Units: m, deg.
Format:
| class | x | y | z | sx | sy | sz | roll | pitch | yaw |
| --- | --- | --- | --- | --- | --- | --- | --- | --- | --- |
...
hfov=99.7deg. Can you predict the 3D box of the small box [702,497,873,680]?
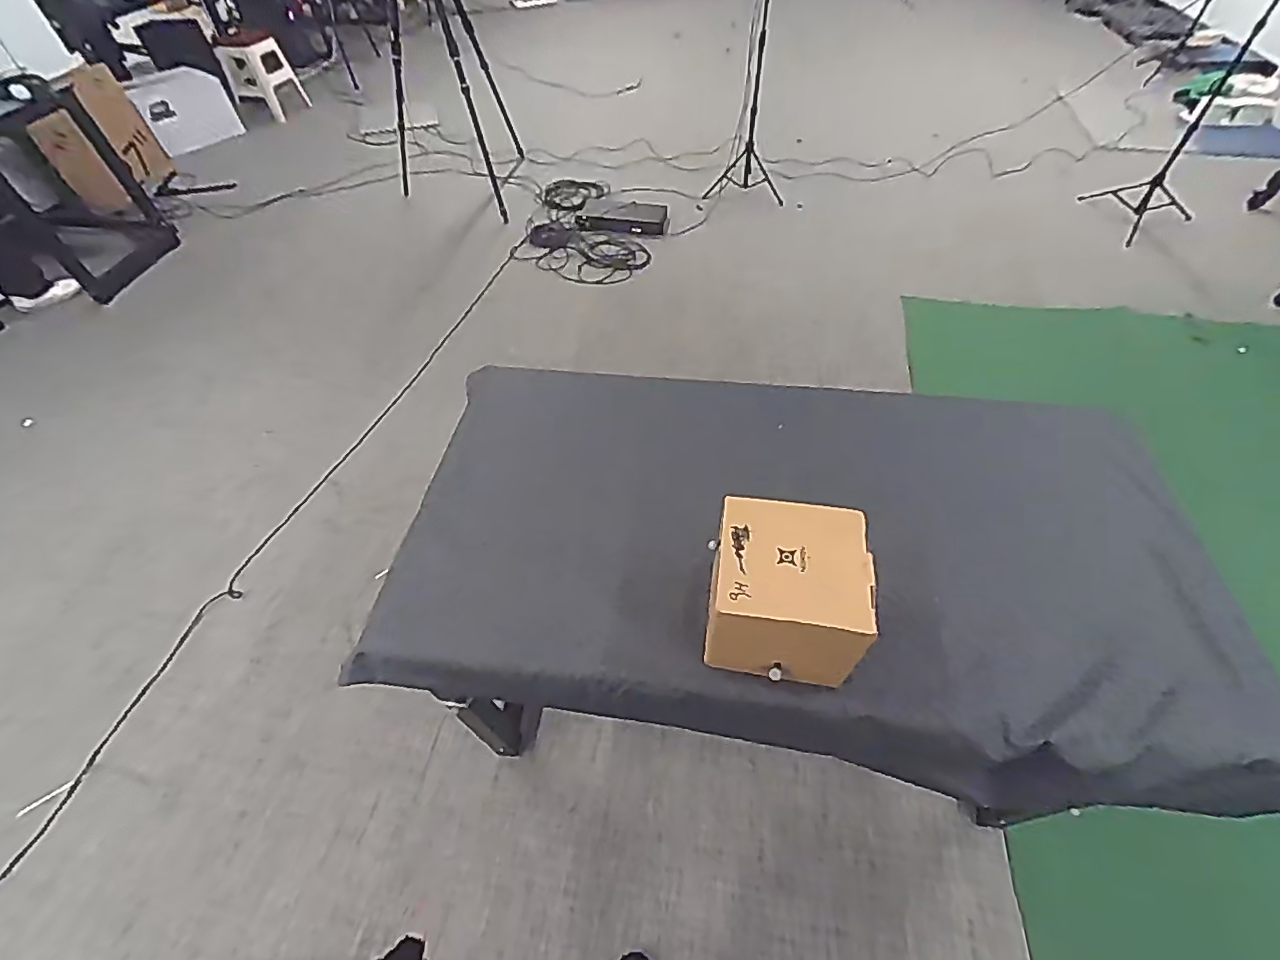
| class | x | y | z | sx | sy | sz | roll | pitch | yaw |
| --- | --- | --- | --- | --- | --- | --- | --- | --- | --- |
| small box | 0.182 | 0.146 | 0.705 | 0.179 | 0.176 | 0.168 | 7 | 51 | 7 |
